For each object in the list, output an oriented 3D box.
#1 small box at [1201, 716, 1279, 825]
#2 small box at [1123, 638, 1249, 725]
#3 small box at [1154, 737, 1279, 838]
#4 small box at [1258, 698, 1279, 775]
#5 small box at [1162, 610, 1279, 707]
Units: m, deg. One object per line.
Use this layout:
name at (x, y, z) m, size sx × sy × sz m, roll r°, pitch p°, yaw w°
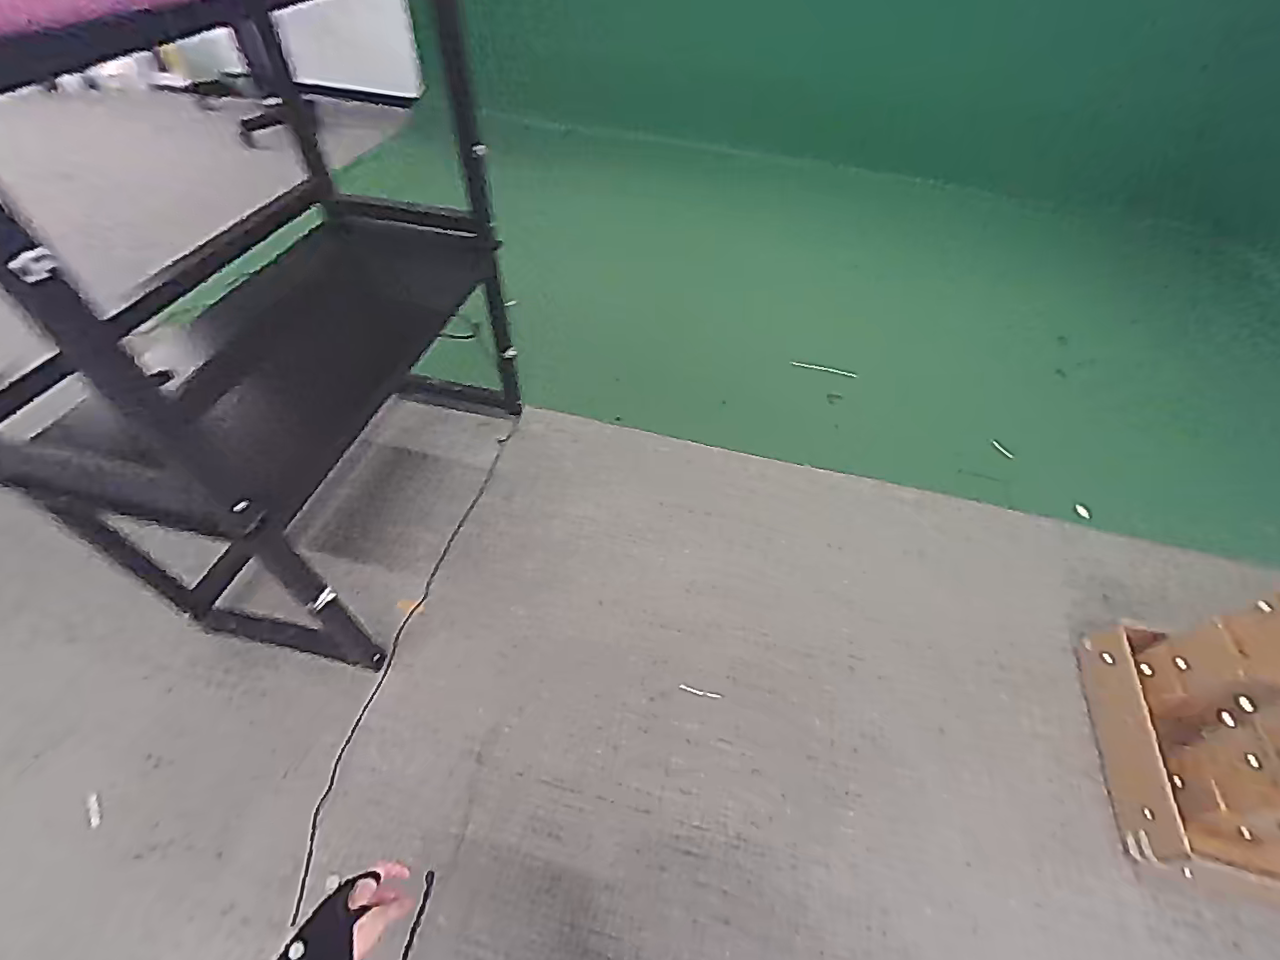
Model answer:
small box at (1.468, 0.673, 1.240) m, size 0.168 × 0.176 × 0.179 m, roll 11°, pitch 50°, yaw 6°
small box at (1.535, 0.577, 1.541) m, size 0.179 × 0.176 × 0.168 m, roll 12°, pitch 51°, yaw 7°
small box at (1.461, 0.780, 1.366) m, size 0.179 × 0.176 × 0.168 m, roll 15°, pitch 50°, yaw 8°
small box at (1.472, 0.554, 1.128) m, size 0.179 × 0.176 × 0.168 m, roll 15°, pitch 51°, yaw 9°
small box at (1.539, 0.471, 1.413) m, size 0.168 × 0.176 × 0.179 m, roll 13°, pitch 53°, yaw 6°
